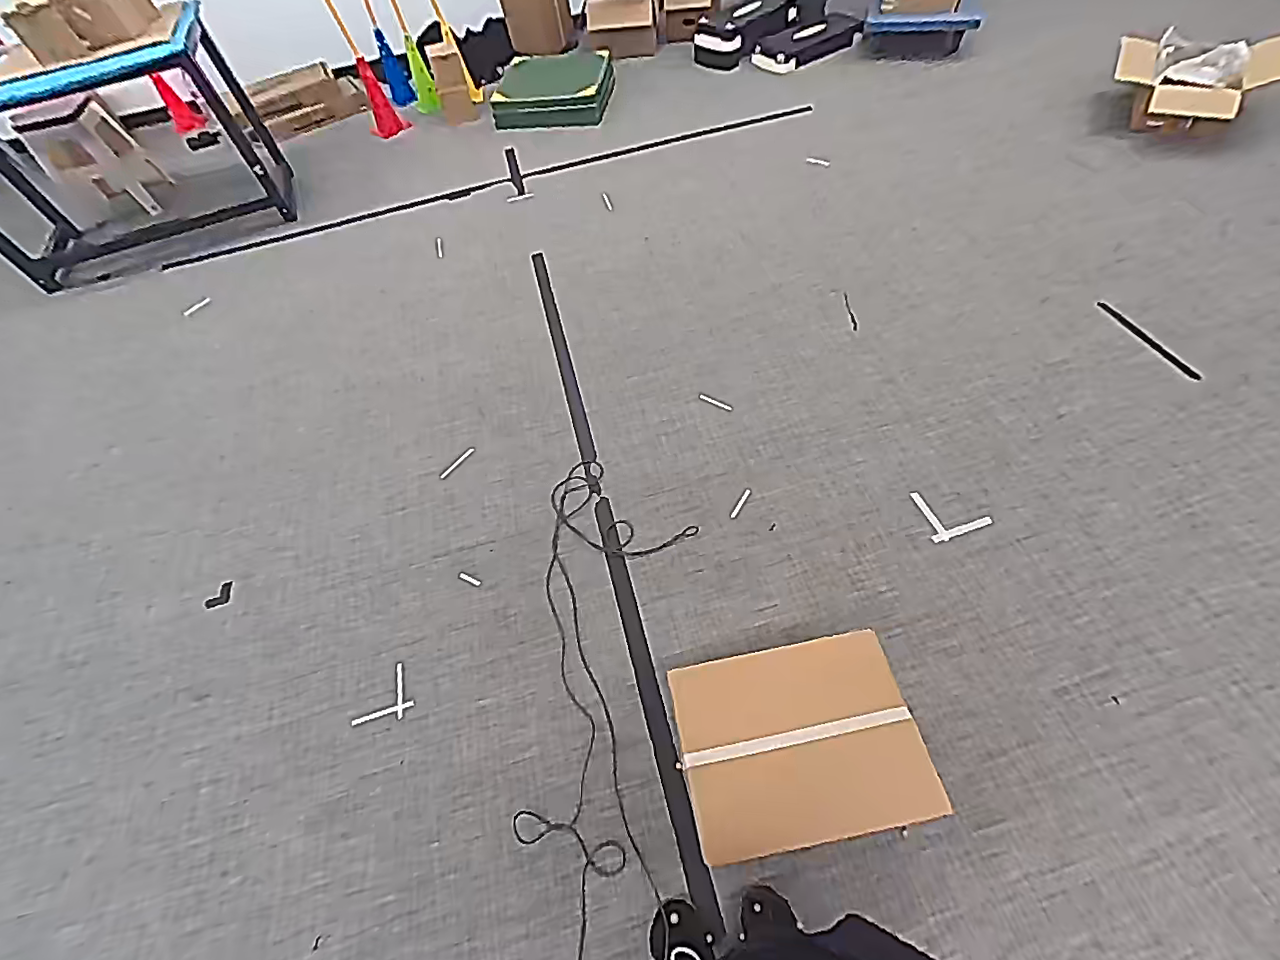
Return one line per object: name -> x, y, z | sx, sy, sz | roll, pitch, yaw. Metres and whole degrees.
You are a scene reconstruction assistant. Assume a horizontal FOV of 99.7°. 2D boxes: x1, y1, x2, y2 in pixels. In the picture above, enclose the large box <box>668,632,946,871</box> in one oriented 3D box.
large box -> 0.289, 0.536, 1.067 | 0.408, 0.320, 0.320 | -12, 54, -1
